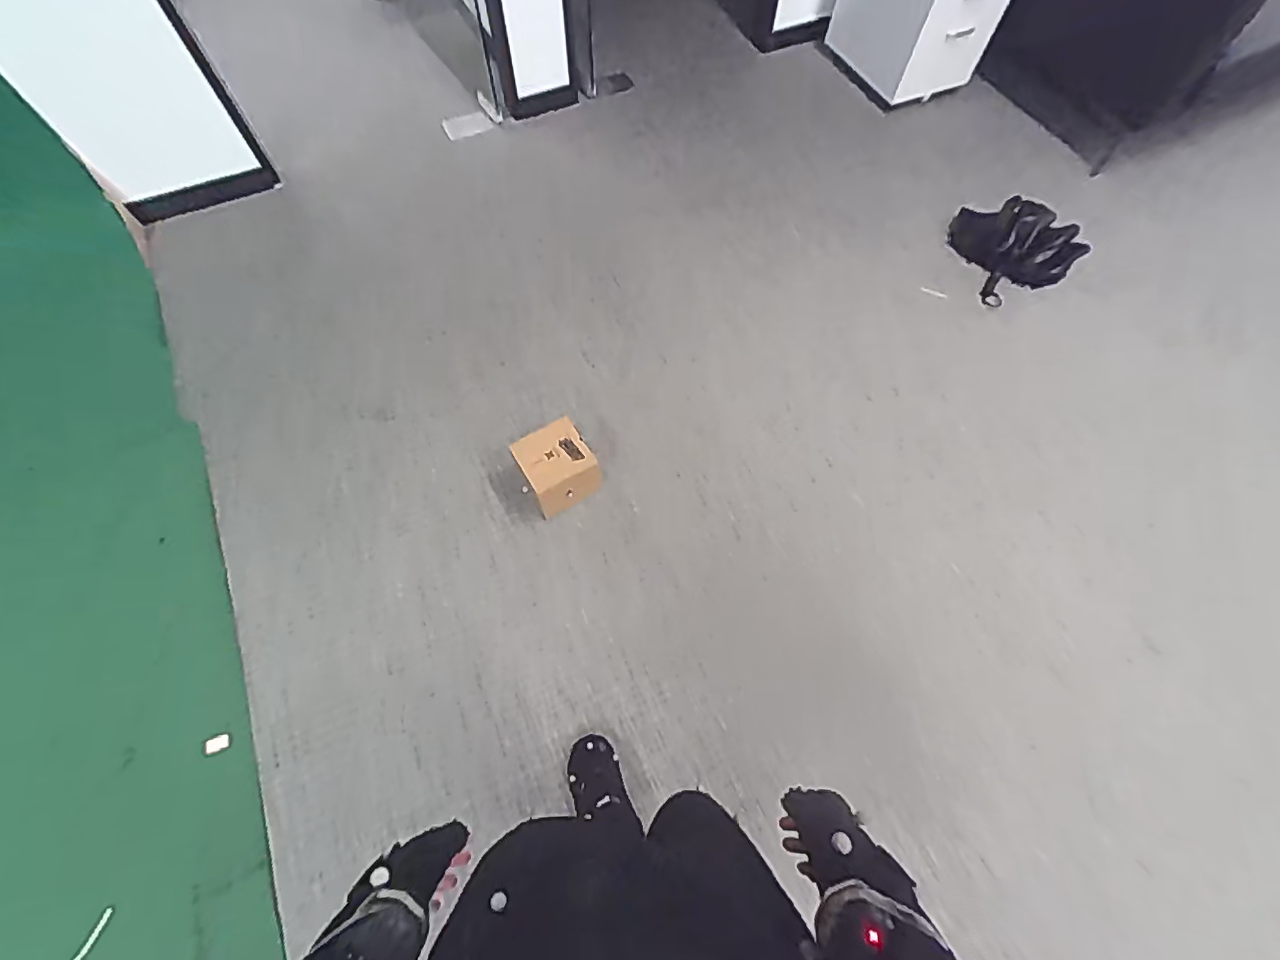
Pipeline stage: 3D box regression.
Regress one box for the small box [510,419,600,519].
[{"bbox_3d":[-0.221,-0.025,1.448,0.179,0.176,0.168,-32,69,-16],"label":"small box"}]
